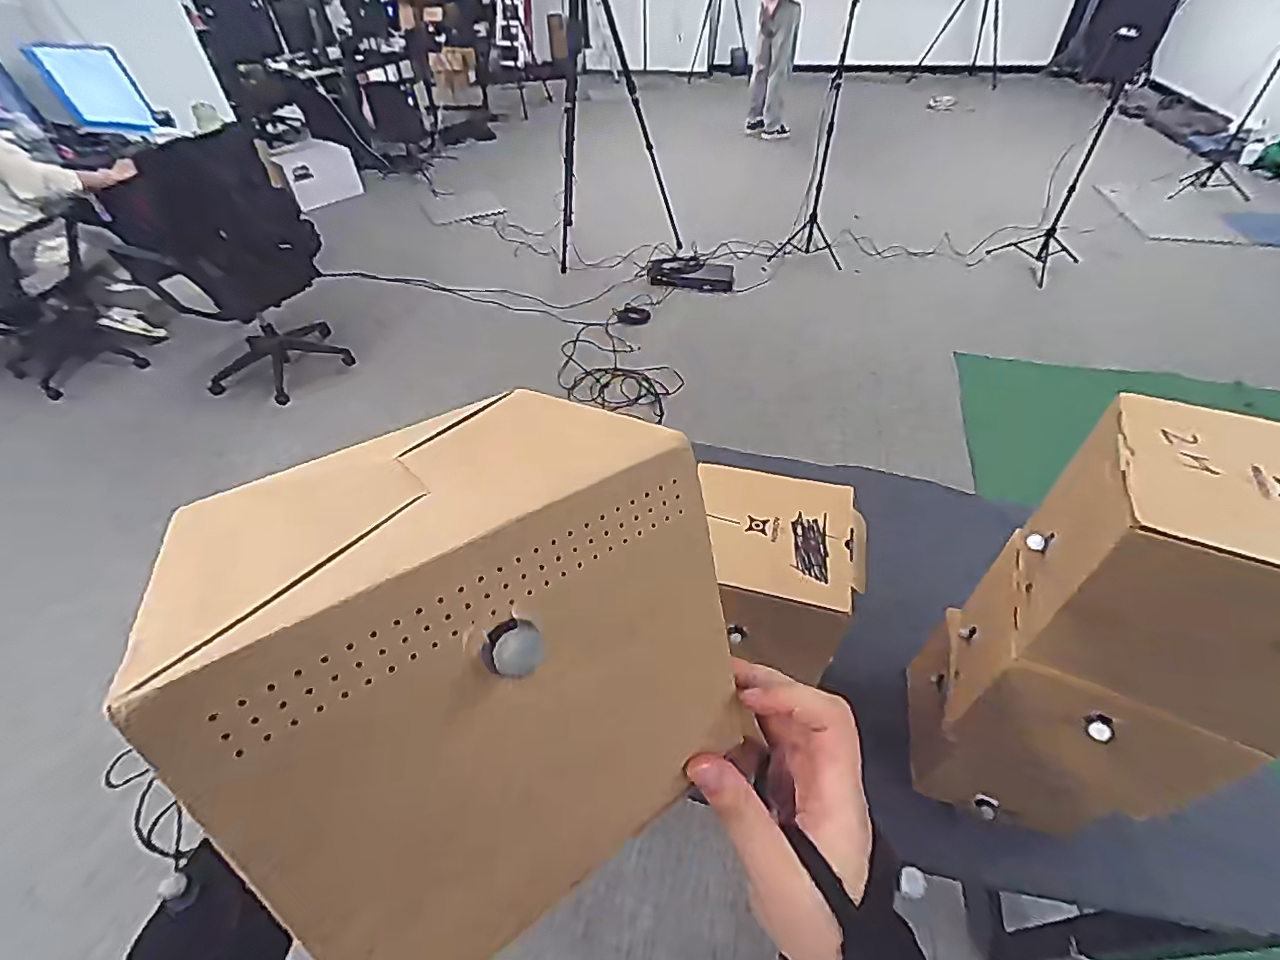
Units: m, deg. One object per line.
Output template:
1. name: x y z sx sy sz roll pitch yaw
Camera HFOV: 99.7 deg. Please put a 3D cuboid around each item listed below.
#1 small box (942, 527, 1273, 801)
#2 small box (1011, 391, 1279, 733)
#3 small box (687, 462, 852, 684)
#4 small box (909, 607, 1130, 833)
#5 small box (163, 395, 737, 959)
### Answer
1. small box: 0.426 0.181 0.528 0.179 0.176 0.168 18 48 21
2. small box: 0.423 0.062 0.414 0.179 0.176 0.168 19 48 23
3. small box: 0.128 0.107 0.613 0.179 0.176 0.168 10 46 13
4. small box: 0.436 0.287 0.652 0.168 0.176 0.179 10 46 14
5. small box: -0.082 0.068 0.257 0.179 0.176 0.168 -26 28 -27
